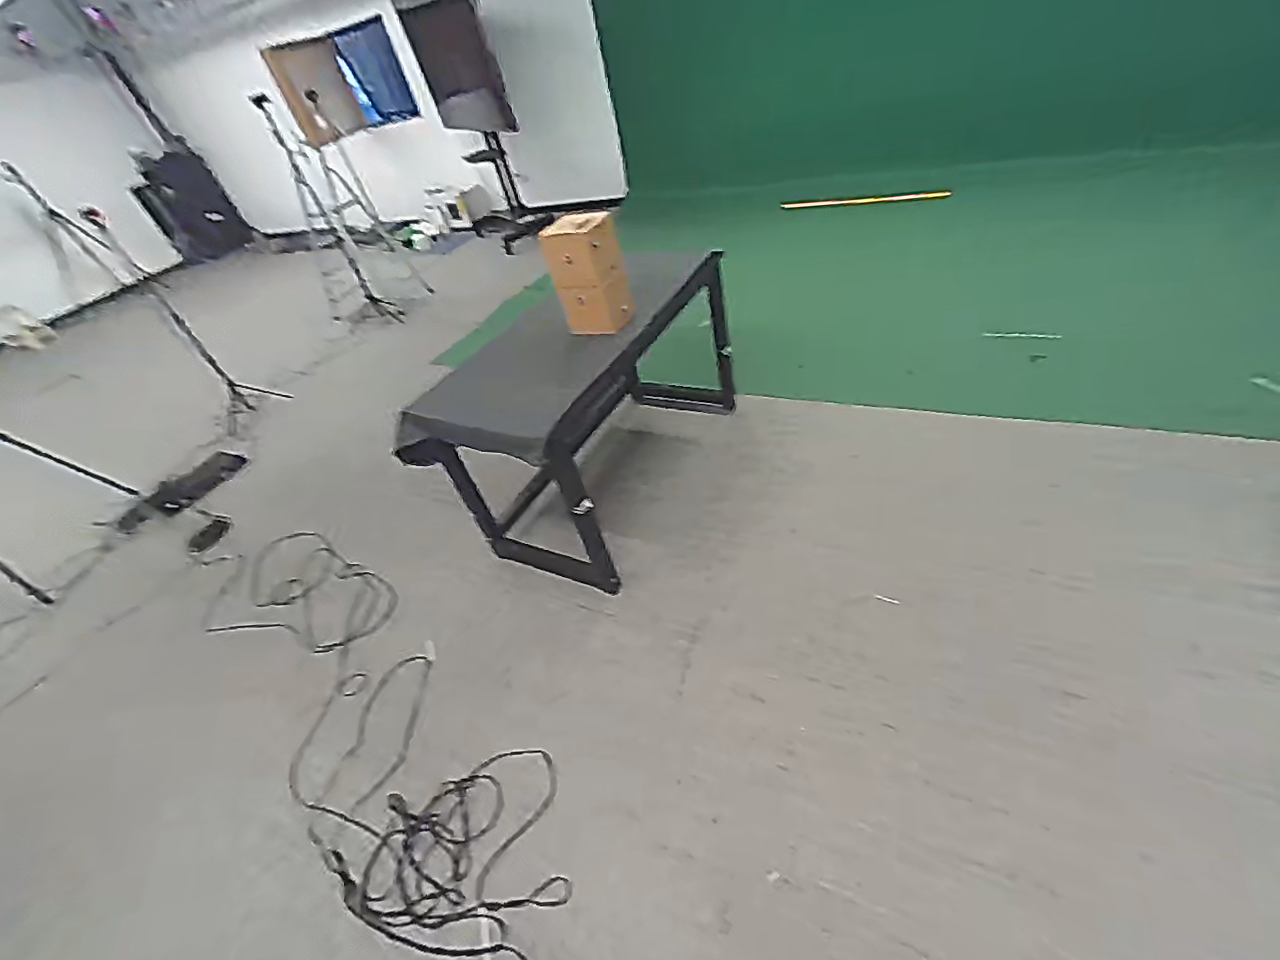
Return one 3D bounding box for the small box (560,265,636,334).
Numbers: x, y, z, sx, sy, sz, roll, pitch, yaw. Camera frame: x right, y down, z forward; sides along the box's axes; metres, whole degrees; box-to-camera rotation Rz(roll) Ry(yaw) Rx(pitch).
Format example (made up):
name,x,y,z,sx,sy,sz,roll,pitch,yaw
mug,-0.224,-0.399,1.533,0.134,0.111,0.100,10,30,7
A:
name,x,y,z,sx,sy,sz,roll,pitch,yaw
small box,-0.136,-0.603,1.816,0.179,0.176,0.168,8,46,27
